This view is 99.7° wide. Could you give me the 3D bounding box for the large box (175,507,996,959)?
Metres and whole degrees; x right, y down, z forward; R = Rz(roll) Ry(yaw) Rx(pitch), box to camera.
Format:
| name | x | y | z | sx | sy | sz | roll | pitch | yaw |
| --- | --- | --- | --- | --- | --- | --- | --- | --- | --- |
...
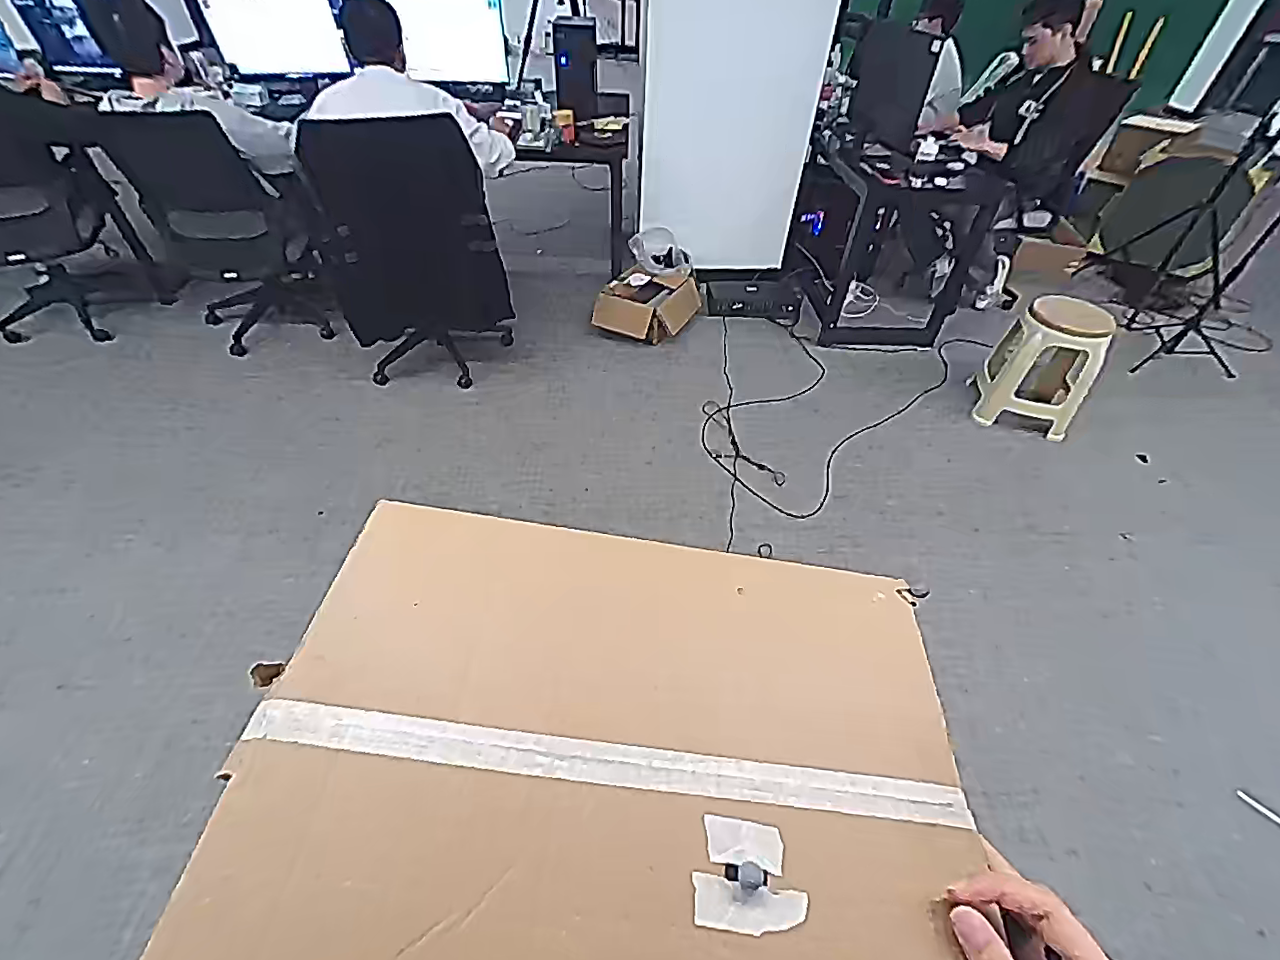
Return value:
| name | x | y | z | sx | sy | sz | roll | pitch | yaw |
| --- | --- | --- | --- | --- | --- | --- | --- | --- | --- |
| large box | -0.026 | 0.259 | 0.432 | 0.408 | 0.320 | 0.320 | 10 | 50 | -3 |
